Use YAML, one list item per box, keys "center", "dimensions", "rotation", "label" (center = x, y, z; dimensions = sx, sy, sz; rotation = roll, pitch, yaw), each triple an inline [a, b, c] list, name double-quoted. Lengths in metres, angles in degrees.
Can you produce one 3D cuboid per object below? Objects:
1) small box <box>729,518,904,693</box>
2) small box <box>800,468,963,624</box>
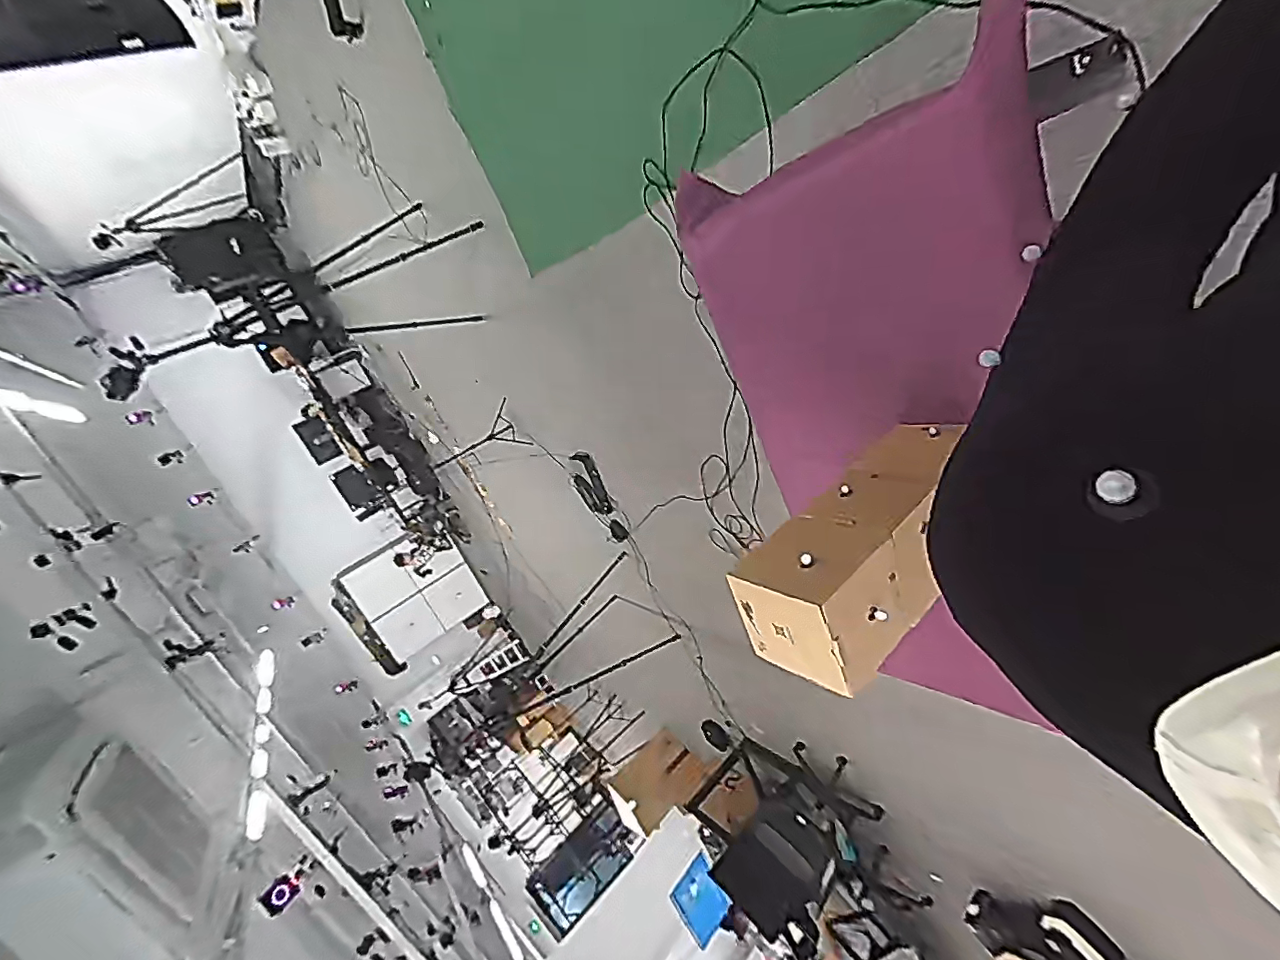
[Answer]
- center: [0.271, 0.174, 0.809]
  dimensions: [0.179, 0.176, 0.168]
  rotation: [8, 126, 55]
  label: "small box"
- center: [0.395, 0.095, 0.878]
  dimensions: [0.168, 0.176, 0.179]
  rotation: [9, 127, 55]
  label: "small box"
